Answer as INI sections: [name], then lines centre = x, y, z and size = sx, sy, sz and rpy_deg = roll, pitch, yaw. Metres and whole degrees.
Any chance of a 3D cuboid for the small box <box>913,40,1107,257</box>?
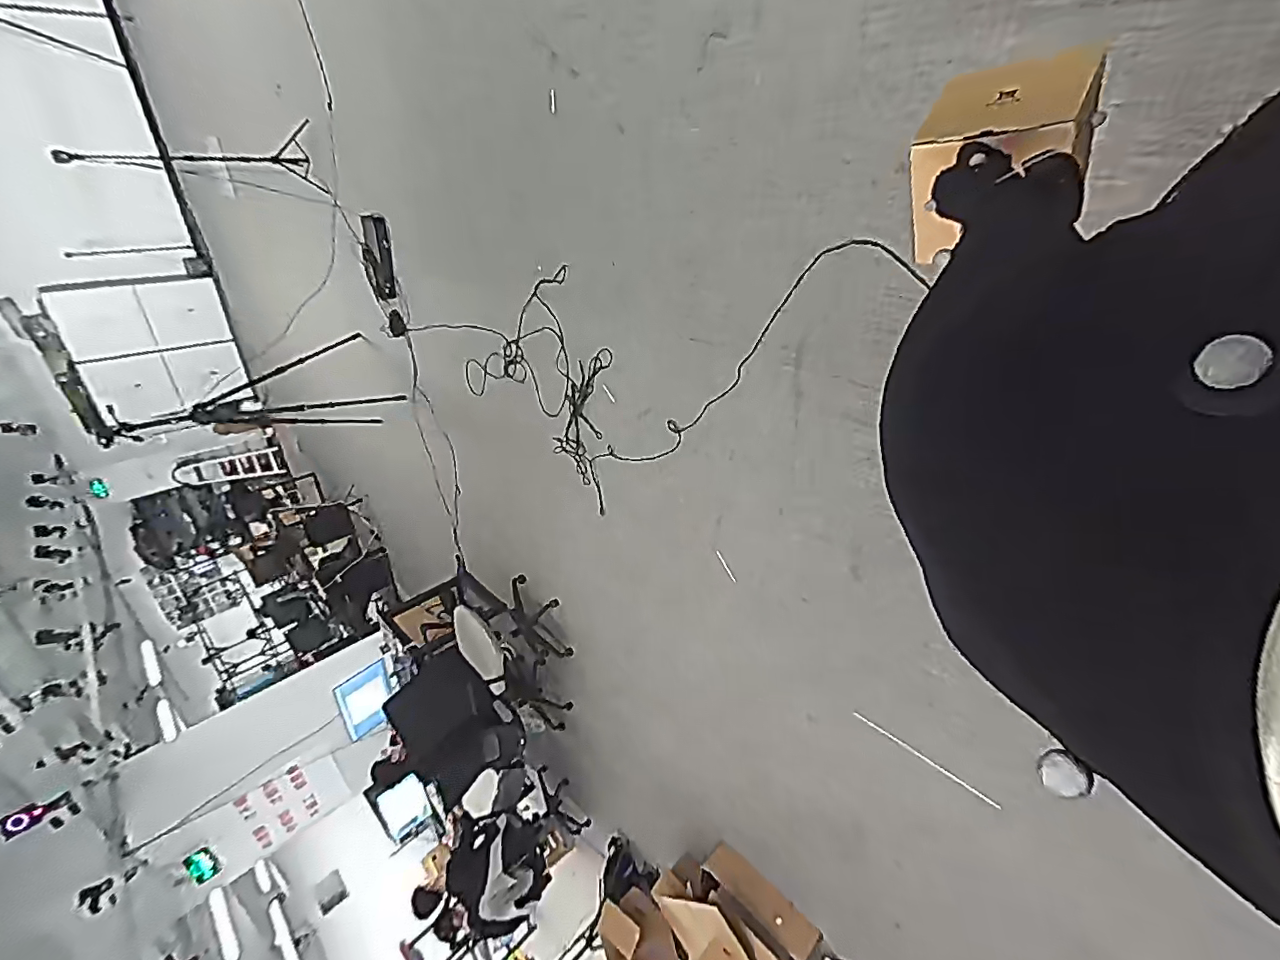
[small box]
centre = 0.475, -0.419, 0.708
size = 0.168, 0.179, 0.176
rpy_deg = 15, 153, 39
